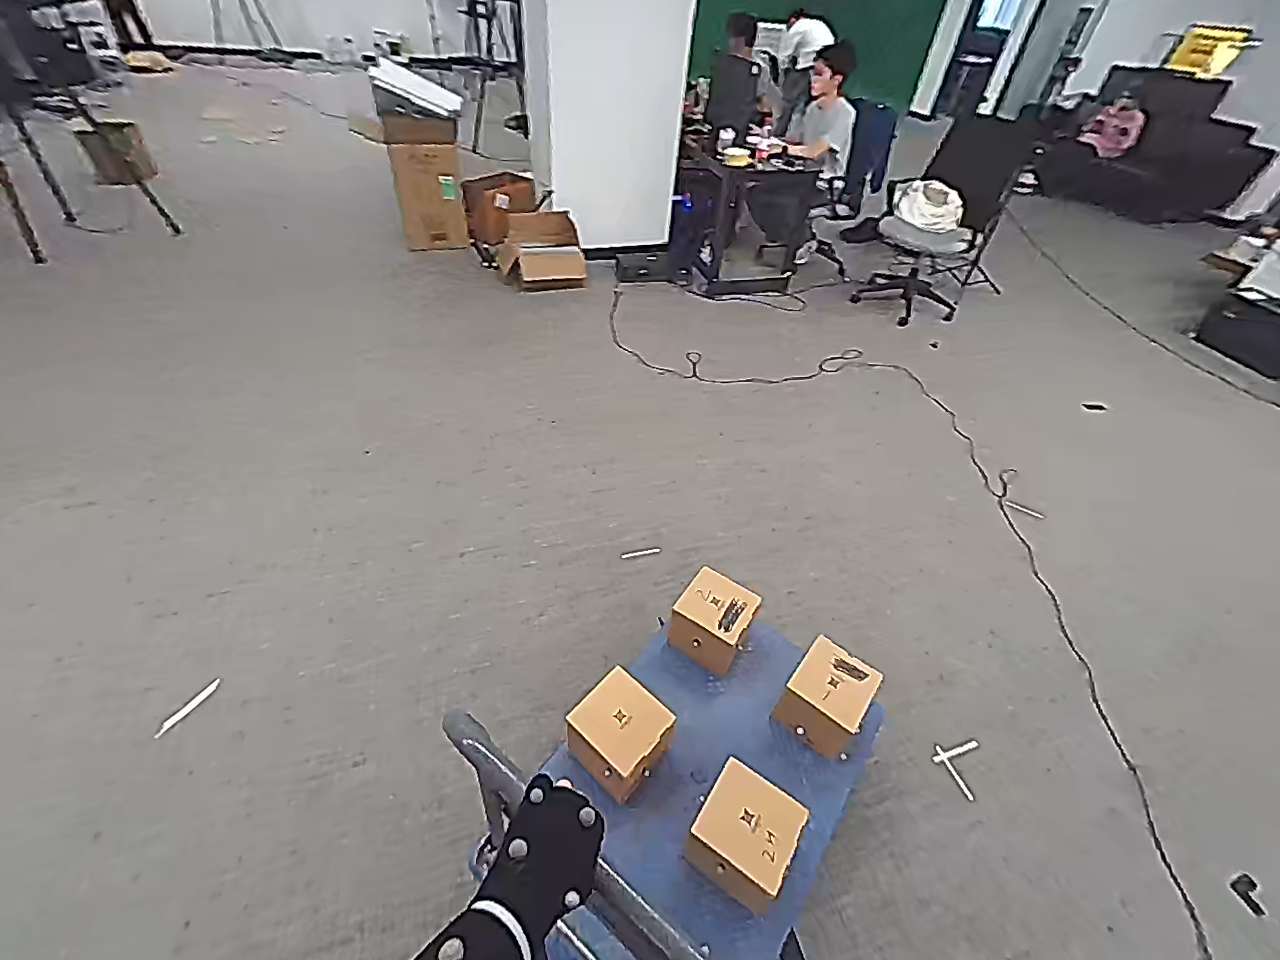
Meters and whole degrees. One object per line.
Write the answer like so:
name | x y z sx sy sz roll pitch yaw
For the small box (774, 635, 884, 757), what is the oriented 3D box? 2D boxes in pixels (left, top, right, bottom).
small box | 0.442 0.514 1.287 0.168 0.176 0.179 32 51 25

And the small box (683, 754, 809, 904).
small box | 0.202 0.696 1.074 0.179 0.176 0.168 29 49 22

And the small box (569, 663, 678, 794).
small box | -0.044 0.553 1.196 0.179 0.176 0.168 35 50 25
